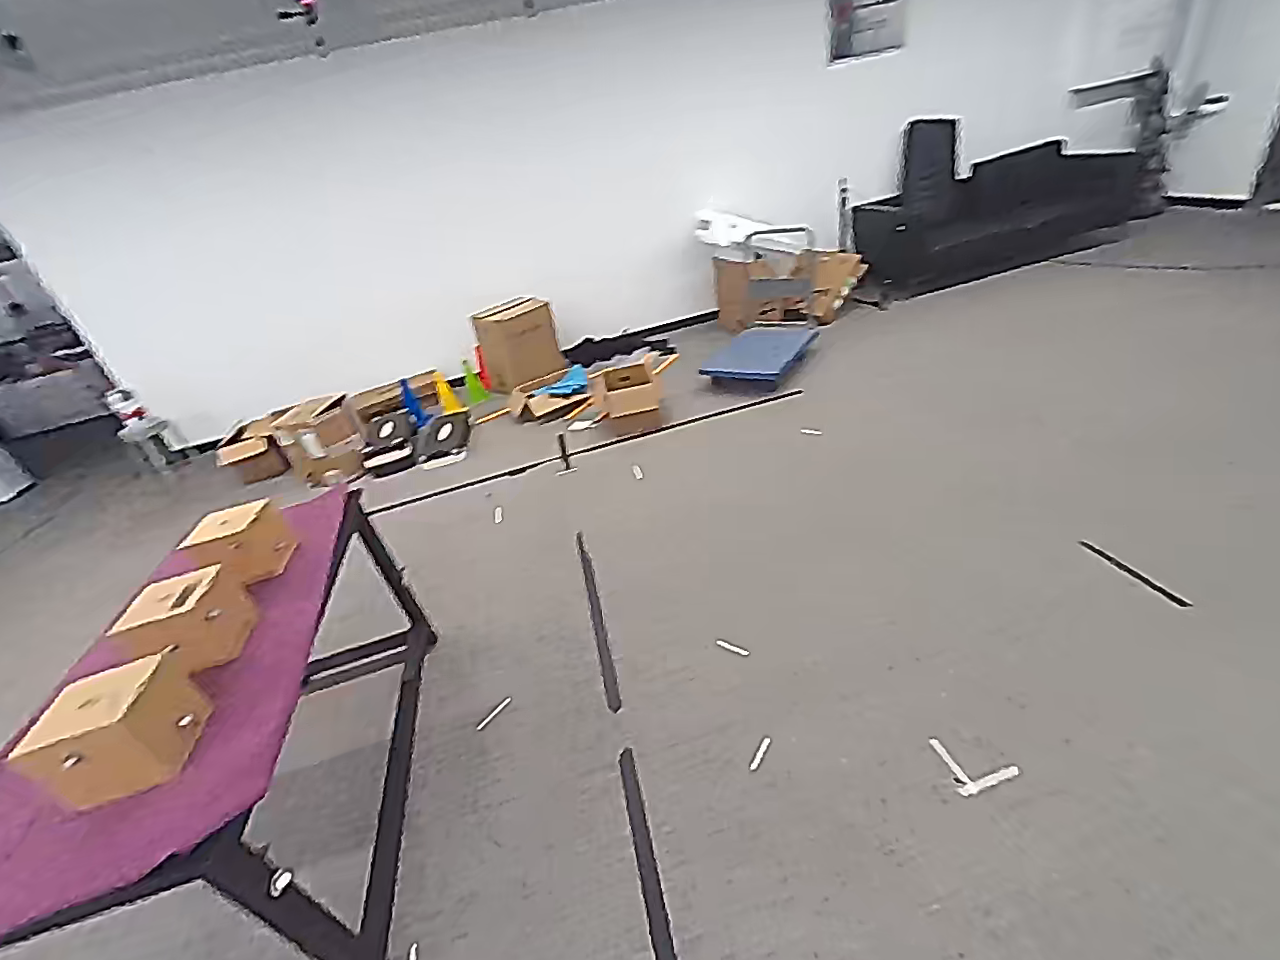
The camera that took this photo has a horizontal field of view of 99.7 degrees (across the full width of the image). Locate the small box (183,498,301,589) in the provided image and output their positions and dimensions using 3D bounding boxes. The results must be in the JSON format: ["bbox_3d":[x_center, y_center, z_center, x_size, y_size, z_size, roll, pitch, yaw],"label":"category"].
[{"bbox_3d":[-1.109,0.182,1.524,0.179,0.176,0.168,-15,32,-3],"label":"small box"}]

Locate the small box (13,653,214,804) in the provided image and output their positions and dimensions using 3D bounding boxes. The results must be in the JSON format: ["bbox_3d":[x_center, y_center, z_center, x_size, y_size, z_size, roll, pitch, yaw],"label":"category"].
[{"bbox_3d":[-0.963,0.465,1.012,0.179,0.176,0.168,-17,31,-8],"label":"small box"}]
